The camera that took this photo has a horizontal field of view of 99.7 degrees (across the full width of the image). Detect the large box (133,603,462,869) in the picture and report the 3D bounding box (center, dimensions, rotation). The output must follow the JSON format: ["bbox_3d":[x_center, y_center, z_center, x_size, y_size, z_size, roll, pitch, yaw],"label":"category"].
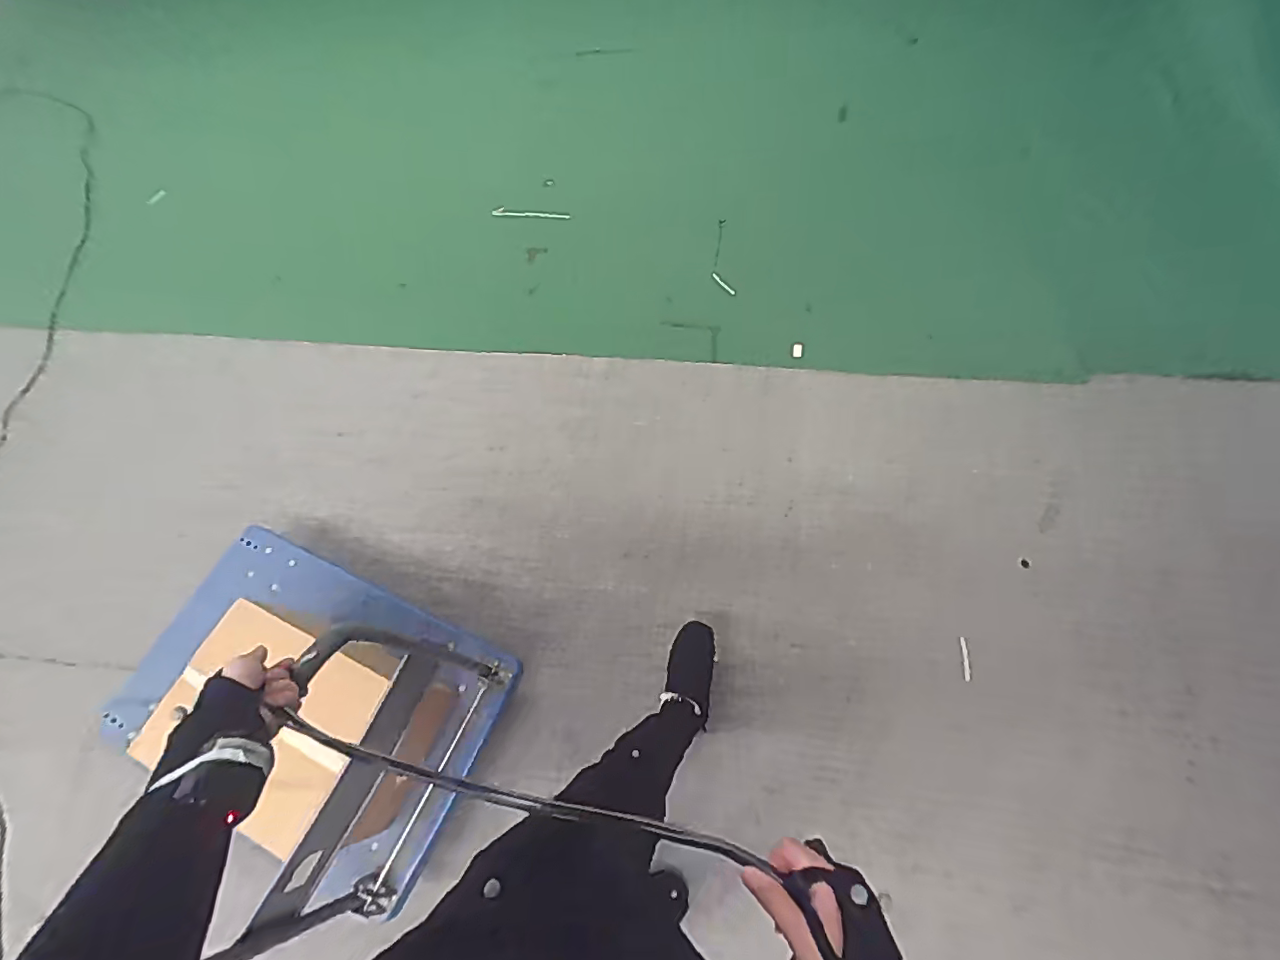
[{"bbox_3d":[-0.657,0.498,1.111,0.408,0.320,0.320,23,70,13],"label":"large box"}]
